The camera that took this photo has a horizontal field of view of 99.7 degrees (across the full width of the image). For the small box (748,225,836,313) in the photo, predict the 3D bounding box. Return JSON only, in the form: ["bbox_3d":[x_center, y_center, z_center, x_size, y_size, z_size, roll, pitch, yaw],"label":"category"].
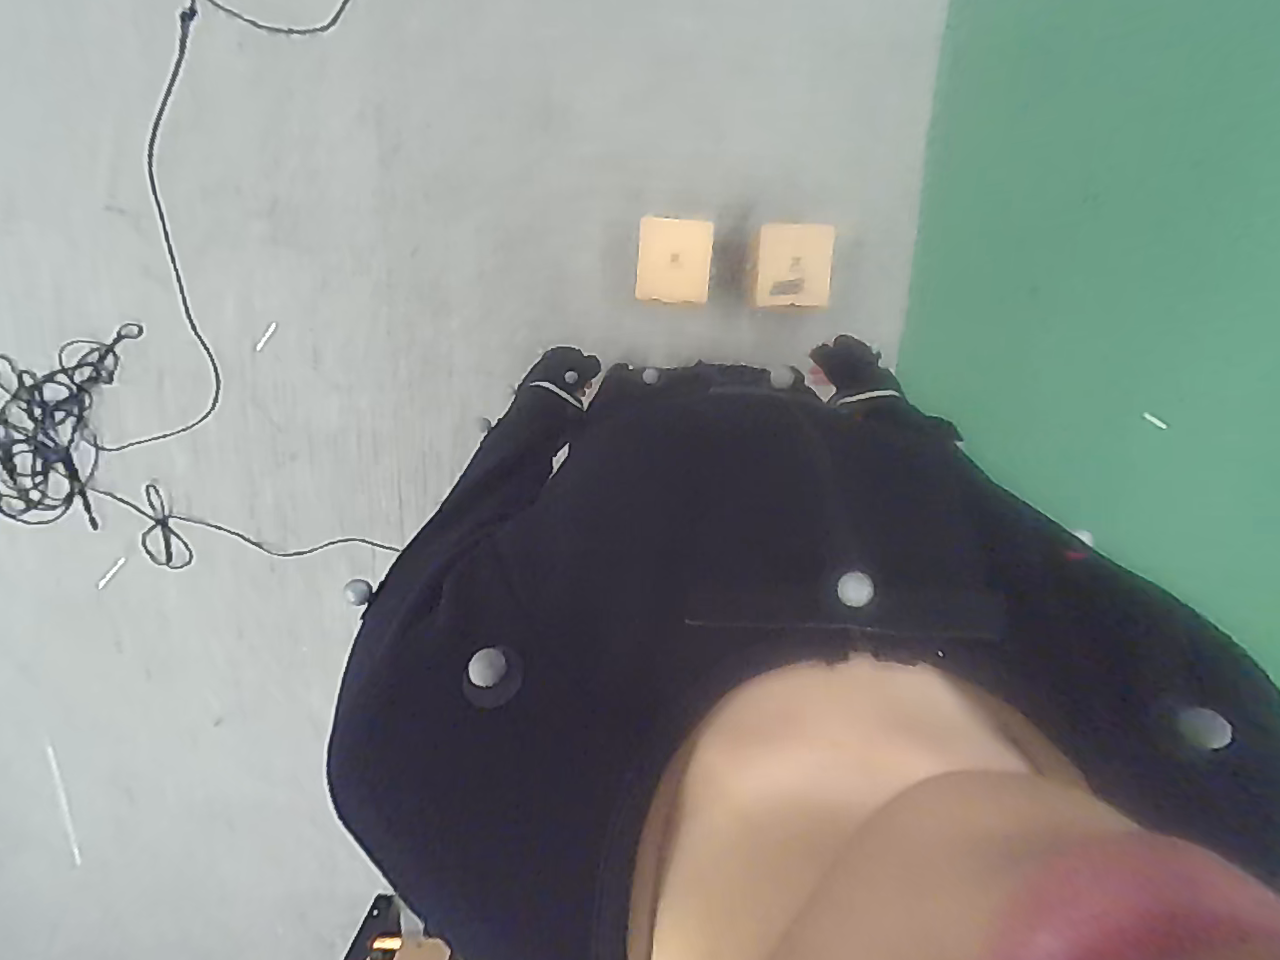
[{"bbox_3d":[0.352,-0.492,1.283,0.168,0.176,0.179,2,102,3],"label":"small box"}]

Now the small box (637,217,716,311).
[{"bbox_3d":[0.083,-0.508,1.291,0.168,0.176,0.179,5,103,1],"label":"small box"}]
